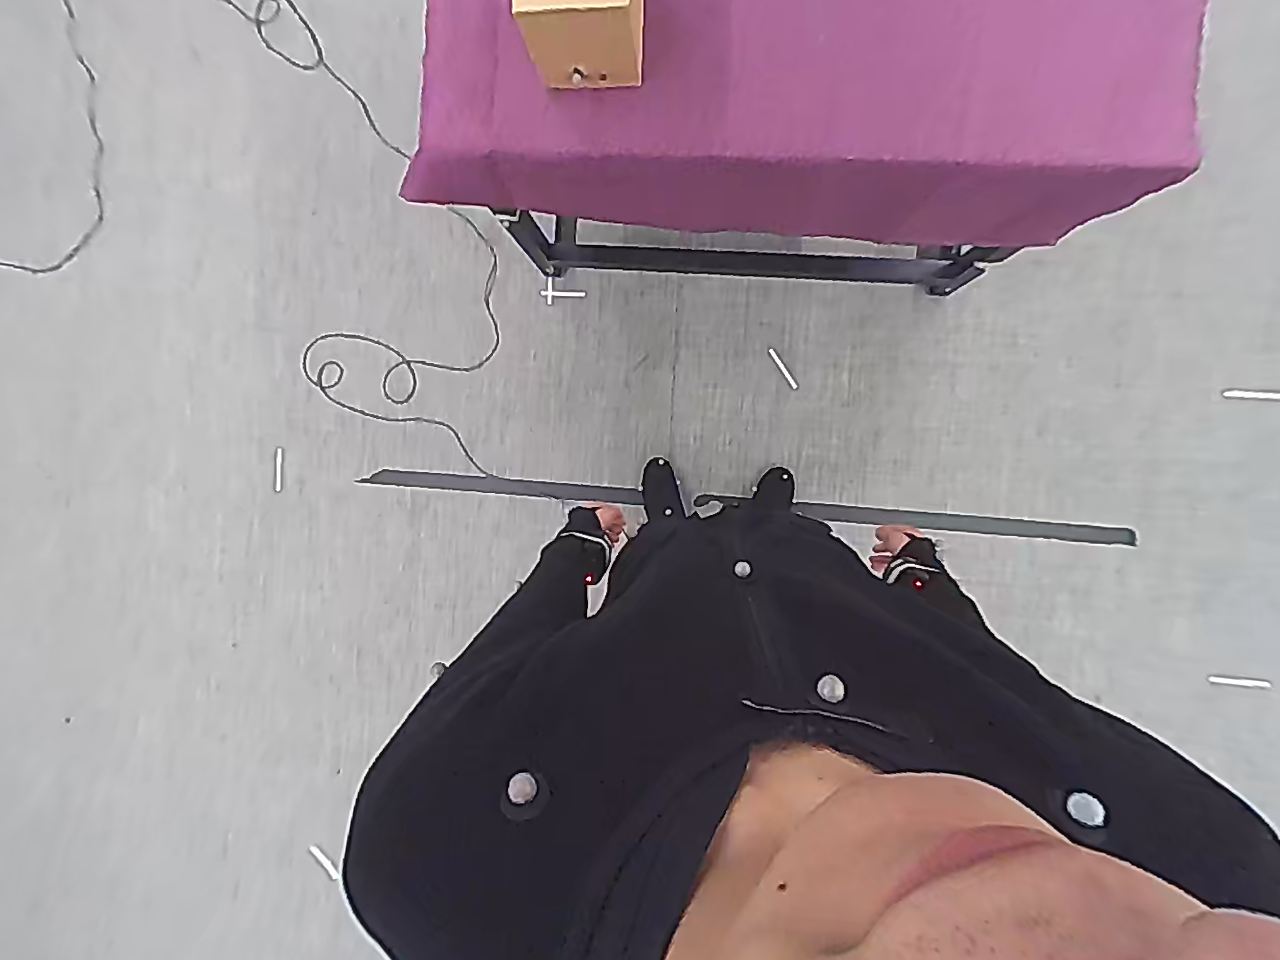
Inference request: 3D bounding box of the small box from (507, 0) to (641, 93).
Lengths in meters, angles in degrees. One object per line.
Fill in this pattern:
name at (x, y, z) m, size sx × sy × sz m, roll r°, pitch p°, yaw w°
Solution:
small box at (-0.089, -0.720, 0.804) m, size 0.168 × 0.176 × 0.179 m, roll 2°, pitch 93°, yaw 6°
